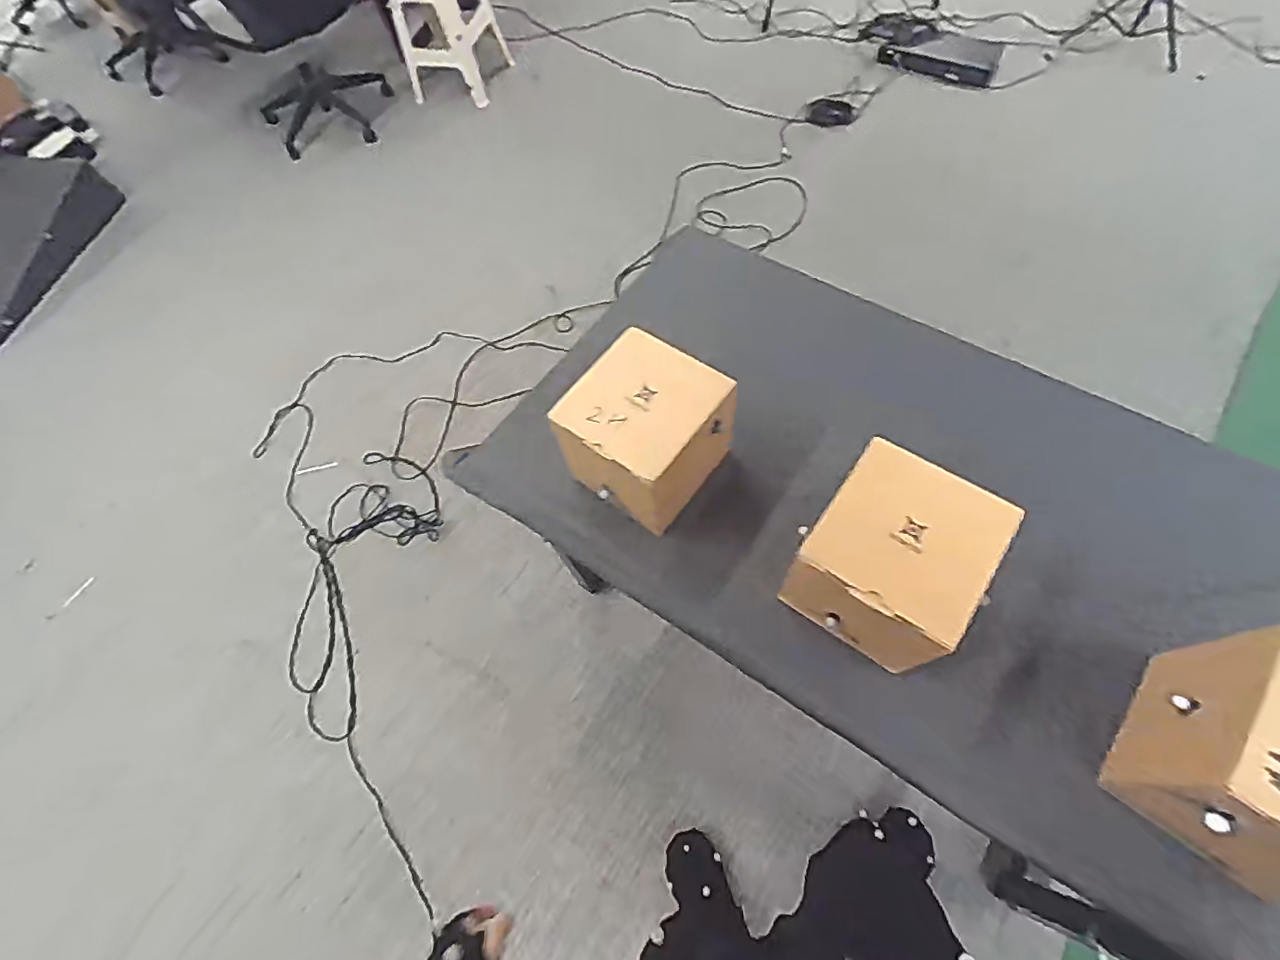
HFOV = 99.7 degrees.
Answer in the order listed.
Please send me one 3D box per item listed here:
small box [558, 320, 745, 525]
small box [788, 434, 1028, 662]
[{"bbox_3d":[0.018,-0.072,0.728,0.168,0.176,0.179,34,71,20],"label":"small box"},{"bbox_3d":[0.293,0.086,0.630,0.168,0.176,0.179,33,71,18],"label":"small box"}]
